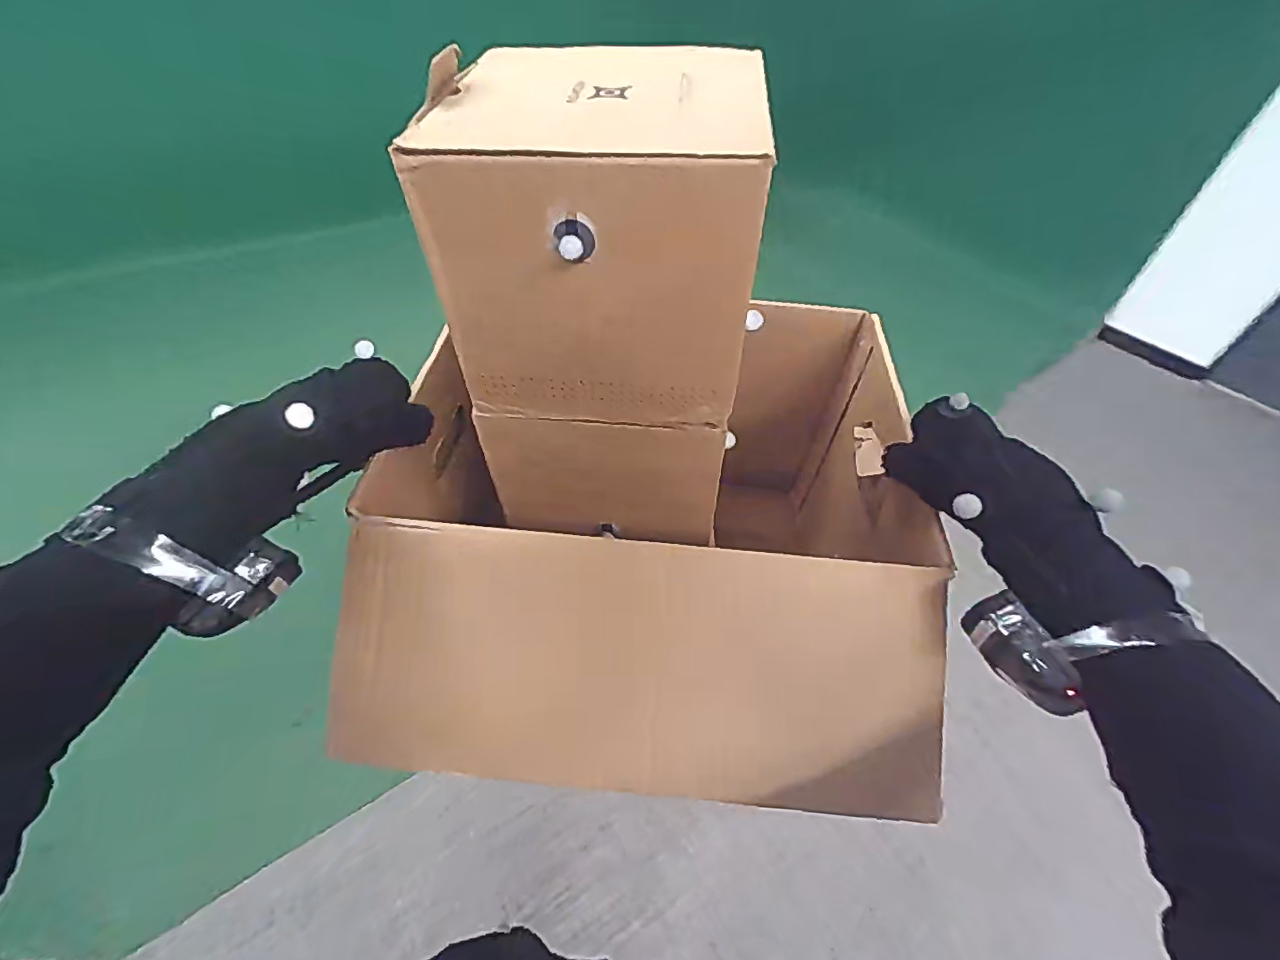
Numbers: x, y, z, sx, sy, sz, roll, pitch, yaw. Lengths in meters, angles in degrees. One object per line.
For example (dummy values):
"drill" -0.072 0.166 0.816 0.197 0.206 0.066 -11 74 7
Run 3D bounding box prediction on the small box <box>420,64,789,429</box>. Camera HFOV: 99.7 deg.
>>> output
"small box" -0.010 -0.149 0.359 0.179 0.176 0.168 4 52 3
